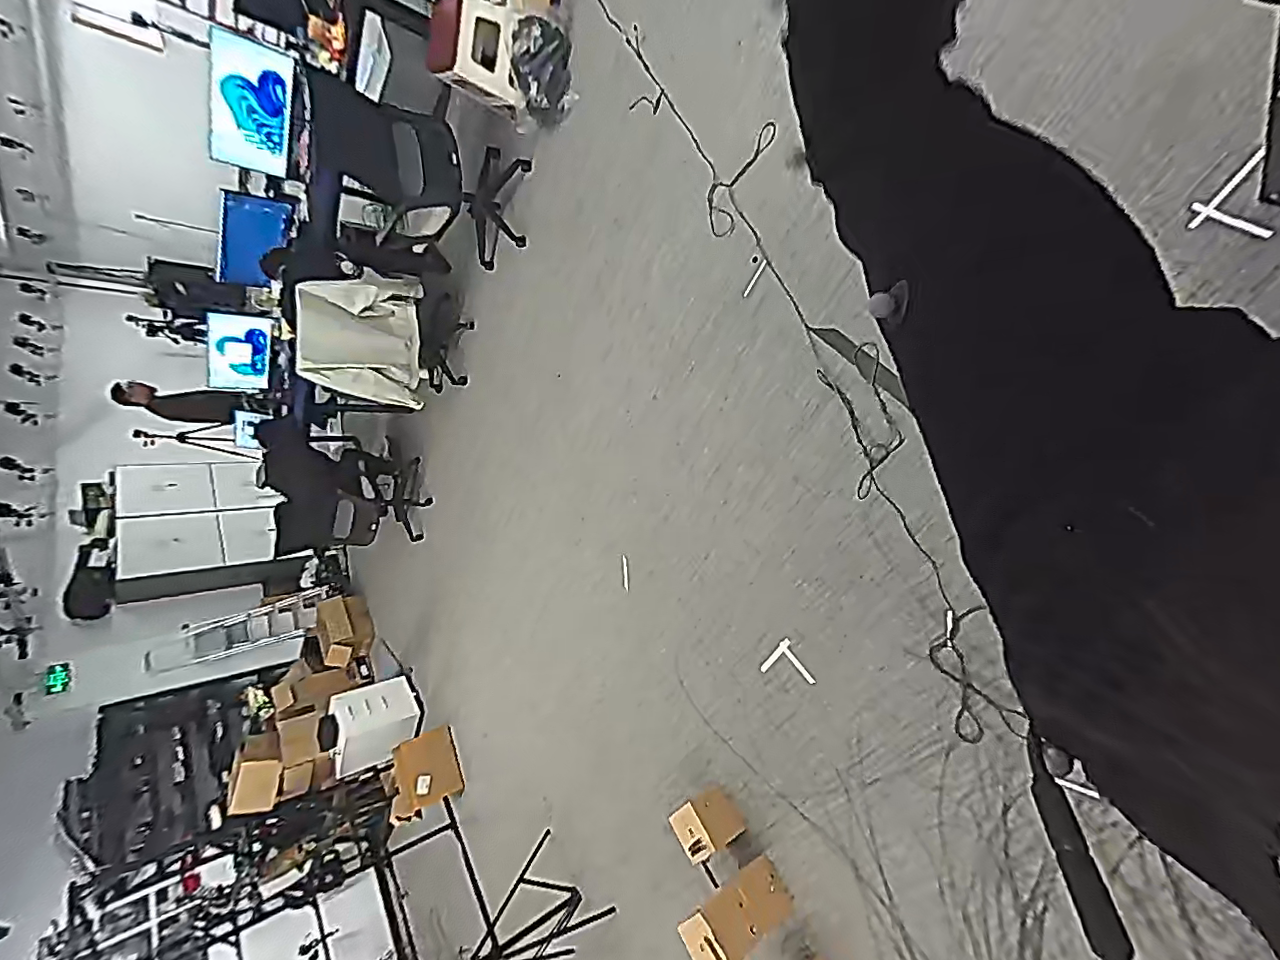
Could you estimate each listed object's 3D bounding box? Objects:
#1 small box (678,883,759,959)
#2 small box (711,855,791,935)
[{"bbox_3d":[0.263,1.470,1.769,0.168,0.176,0.179,52,129,31],"label":"small box"},{"bbox_3d":[0.386,1.450,1.875,0.168,0.176,0.179,54,129,29],"label":"small box"}]
